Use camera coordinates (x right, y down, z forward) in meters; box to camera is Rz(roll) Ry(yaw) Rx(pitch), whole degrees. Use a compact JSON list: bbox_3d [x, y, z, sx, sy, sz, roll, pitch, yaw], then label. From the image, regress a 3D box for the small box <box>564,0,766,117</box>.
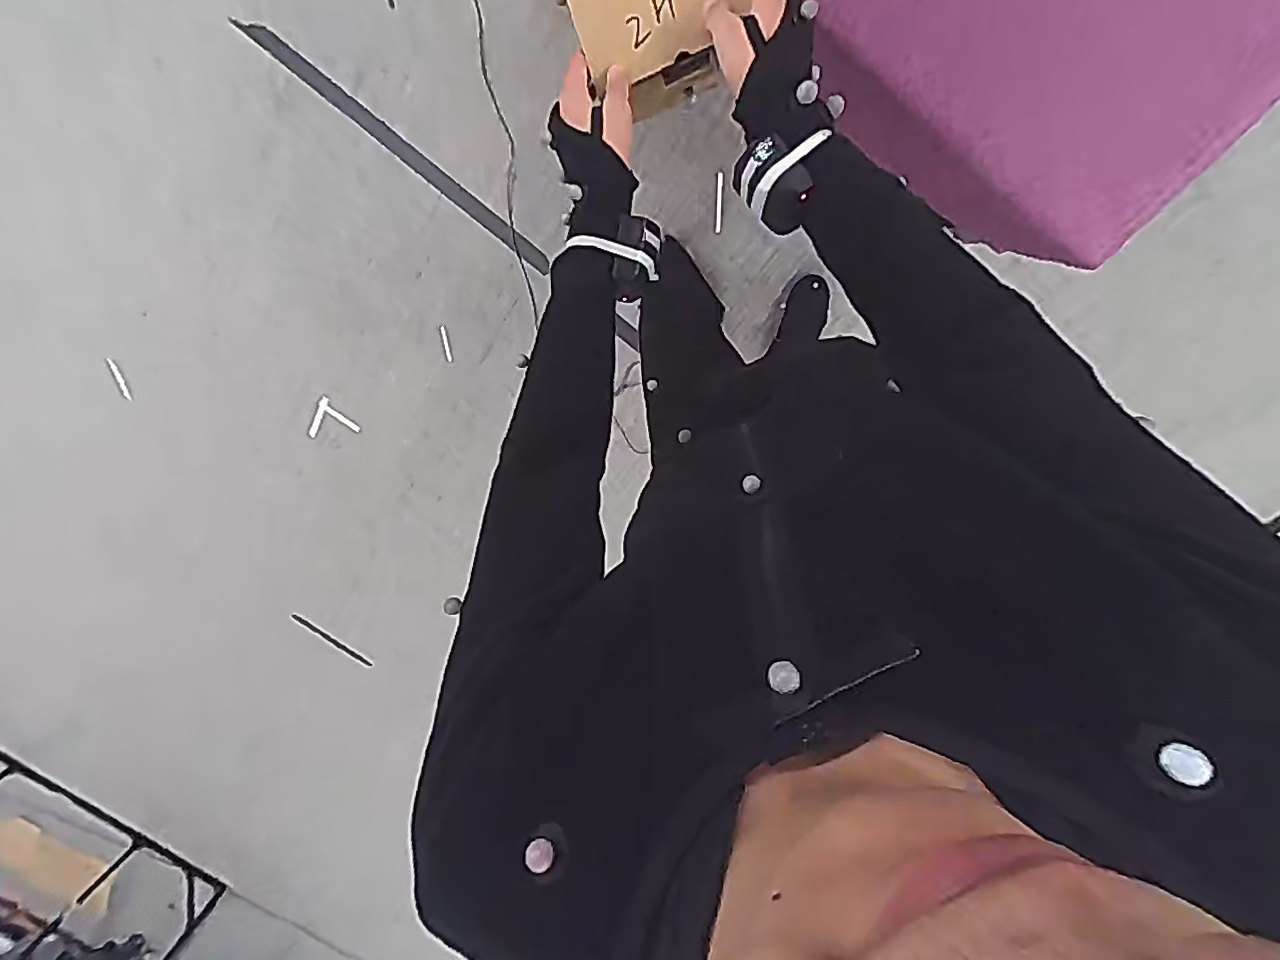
[{"bbox_3d":[0.015,-0.485,0.516,0.168,0.176,0.179,-14,113,15],"label":"small box"}]
